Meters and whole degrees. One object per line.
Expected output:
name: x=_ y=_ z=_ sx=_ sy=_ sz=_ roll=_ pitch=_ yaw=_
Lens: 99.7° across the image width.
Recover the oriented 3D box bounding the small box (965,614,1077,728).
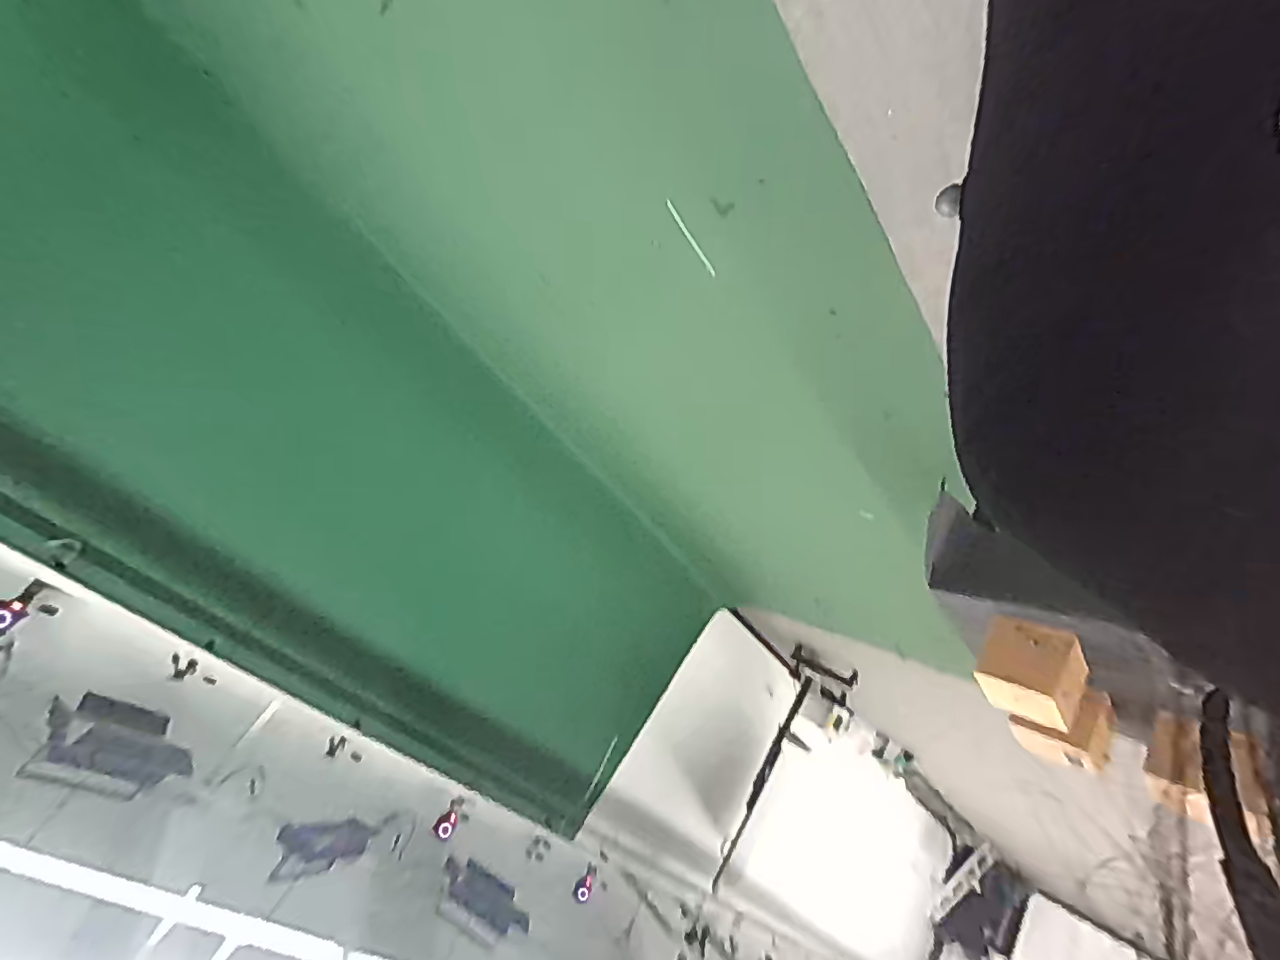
small box: x=0.918 y=0.453 z=1.299 sx=0.168 sy=0.176 sz=0.179 roll=7 pitch=145 yaw=52
